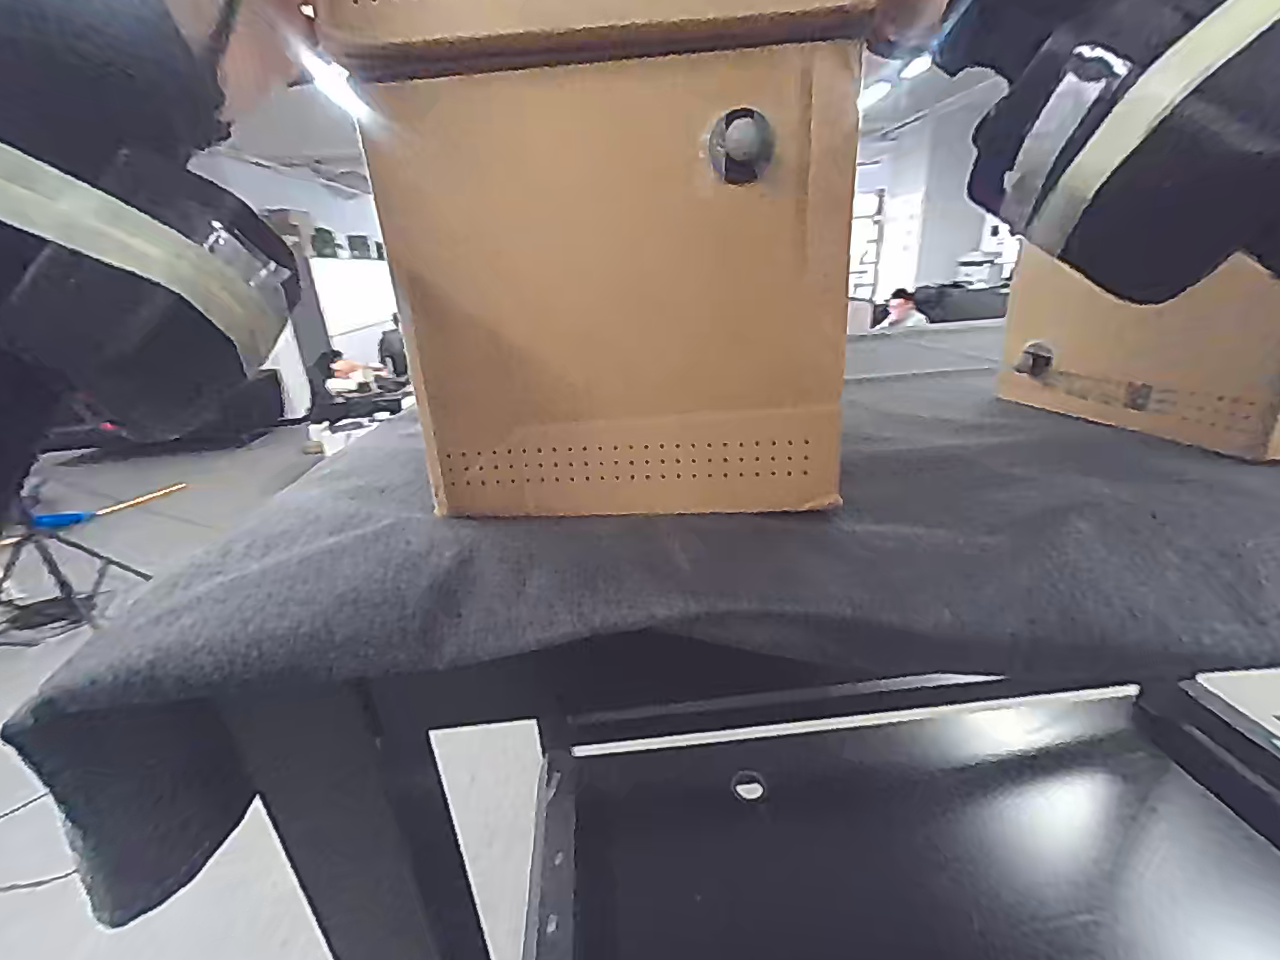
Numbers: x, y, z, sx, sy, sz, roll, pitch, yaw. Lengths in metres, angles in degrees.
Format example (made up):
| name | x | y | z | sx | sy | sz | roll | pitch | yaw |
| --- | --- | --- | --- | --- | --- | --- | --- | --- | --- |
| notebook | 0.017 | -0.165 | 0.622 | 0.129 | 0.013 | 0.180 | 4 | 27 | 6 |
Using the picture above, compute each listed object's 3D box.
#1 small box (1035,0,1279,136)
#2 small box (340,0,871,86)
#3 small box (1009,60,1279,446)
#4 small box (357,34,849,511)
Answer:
| name | x | y | z | sx | sy | sz | roll | pitch | yaw |
| --- | --- | --- | --- | --- | --- | --- | --- | --- | --- |
| small box | 0.334 | -0.276 | 0.258 | 0.179 | 0.176 | 0.168 | -9 | 20 | -11 |
| small box | -0.013 | -0.238 | 0.218 | 0.179 | 0.176 | 0.168 | -2 | 19 | 5 |
| small box | 0.347 | -0.121 | 0.305 | 0.179 | 0.176 | 0.168 | -6 | 20 | -6 |
| small box | -0.005 | -0.088 | 0.283 | 0.179 | 0.176 | 0.168 | -2 | 19 | 5 |
